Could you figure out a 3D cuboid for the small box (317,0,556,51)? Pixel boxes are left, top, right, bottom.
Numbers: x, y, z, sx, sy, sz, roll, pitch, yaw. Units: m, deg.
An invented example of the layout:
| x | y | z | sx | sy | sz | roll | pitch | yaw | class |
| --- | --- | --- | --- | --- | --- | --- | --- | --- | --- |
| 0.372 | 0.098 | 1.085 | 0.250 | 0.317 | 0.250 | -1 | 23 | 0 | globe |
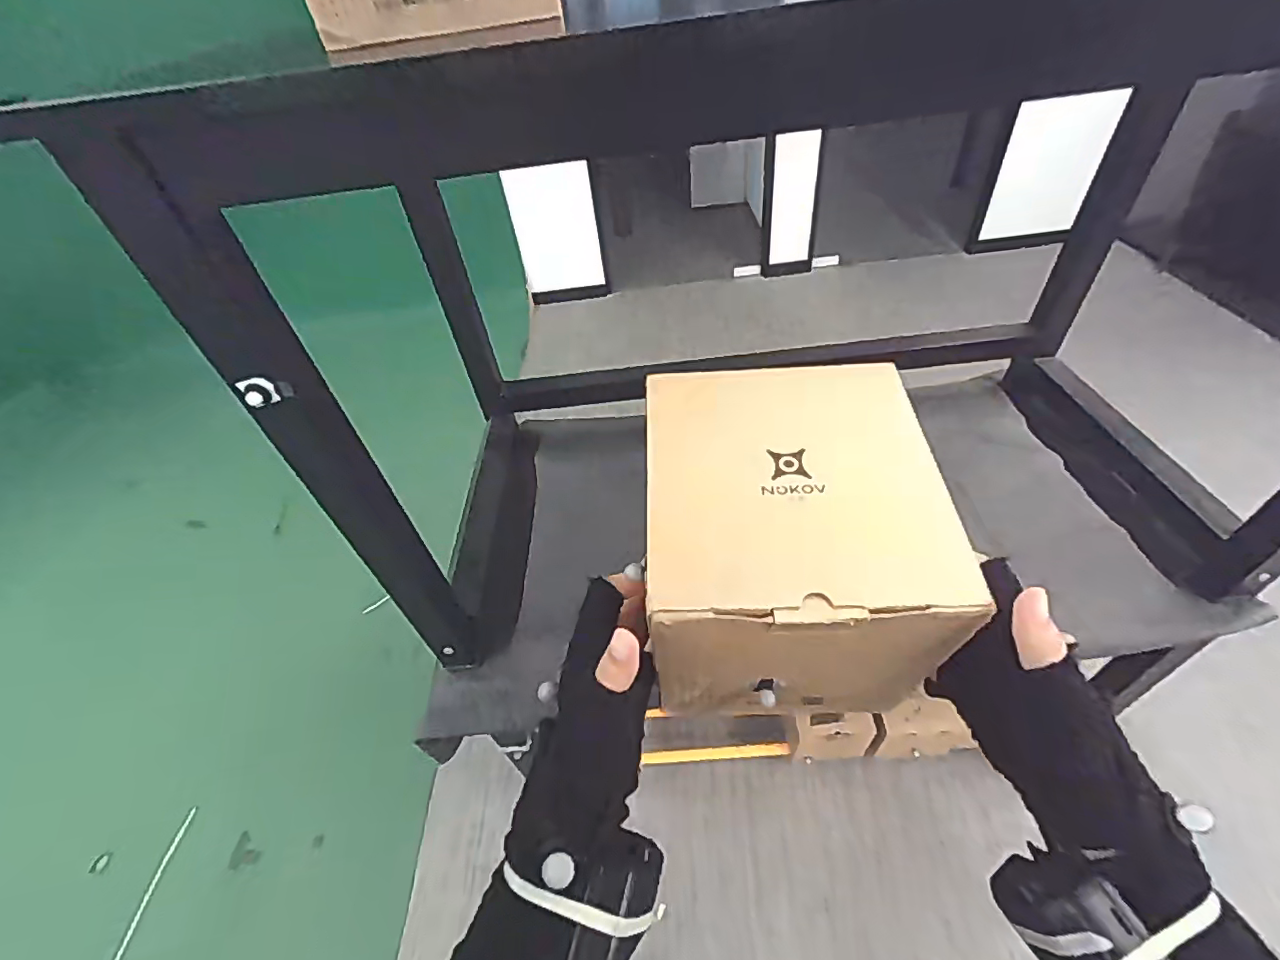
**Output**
| x | y | z | sx | sy | sz | roll | pitch | yaw | class |
| --- | --- | --- | --- | --- | --- | --- | --- | --- | --- |
| -0.165 | -0.426 | 0.385 | 0.168 | 0.176 | 0.179 | -15 | 45 | -5 | small box |
